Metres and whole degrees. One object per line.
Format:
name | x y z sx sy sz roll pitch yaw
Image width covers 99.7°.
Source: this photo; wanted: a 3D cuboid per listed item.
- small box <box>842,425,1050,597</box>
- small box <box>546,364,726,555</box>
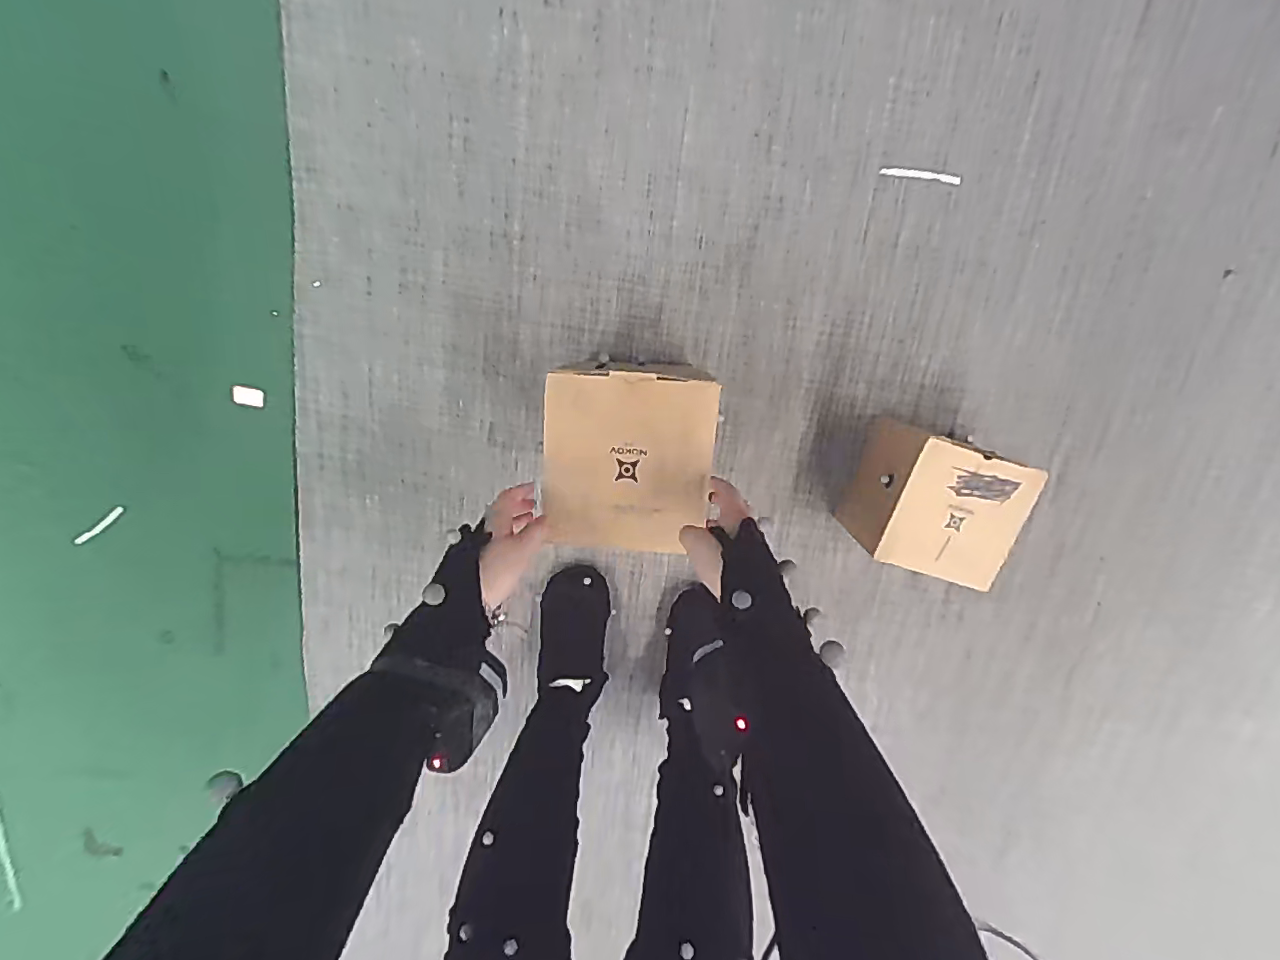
small box | 0.412 0.033 0.766 0.168 0.176 0.179 17 105 -2
small box | -0.004 -0.034 0.597 0.168 0.176 0.179 4 105 2
